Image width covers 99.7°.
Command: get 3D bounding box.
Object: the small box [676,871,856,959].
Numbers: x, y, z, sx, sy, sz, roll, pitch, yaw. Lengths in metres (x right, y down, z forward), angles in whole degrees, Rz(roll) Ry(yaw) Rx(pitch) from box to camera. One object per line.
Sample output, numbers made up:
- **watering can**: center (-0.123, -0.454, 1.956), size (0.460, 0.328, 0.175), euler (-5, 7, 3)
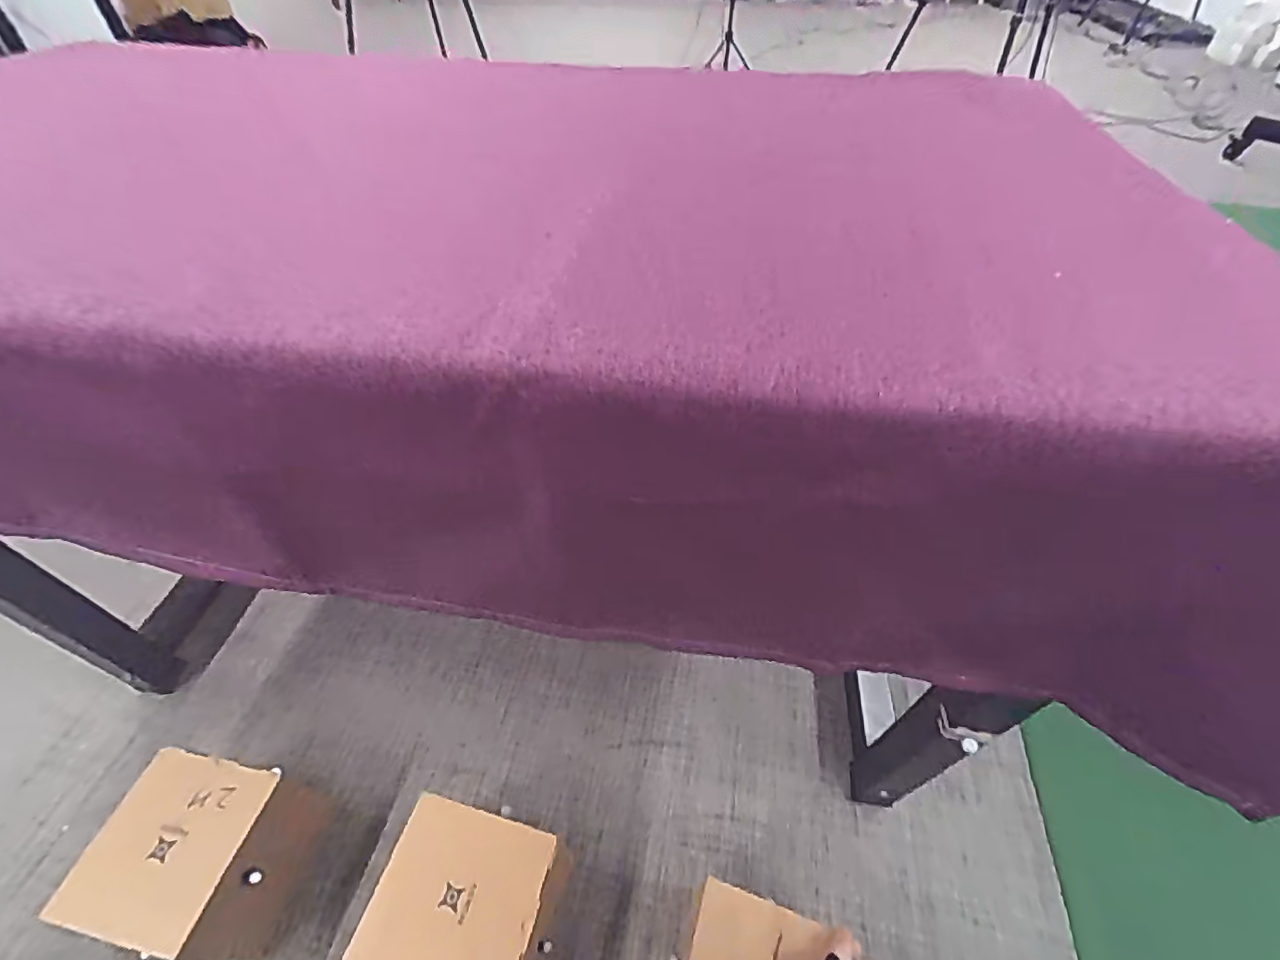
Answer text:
- **small box**: center (0.118, 0.563, 0.580), size (0.168, 0.176, 0.179), euler (15, 49, 13)
